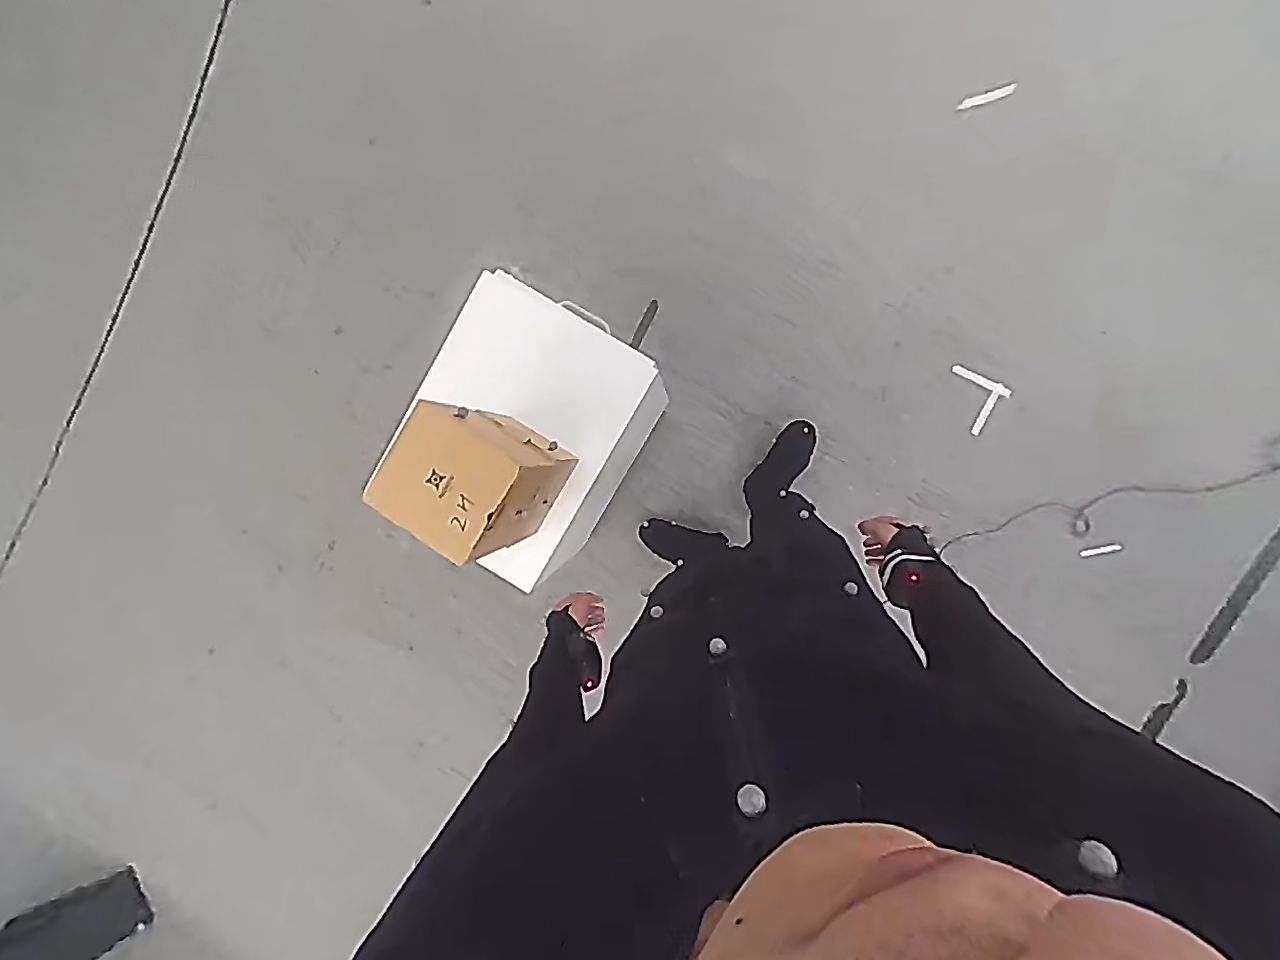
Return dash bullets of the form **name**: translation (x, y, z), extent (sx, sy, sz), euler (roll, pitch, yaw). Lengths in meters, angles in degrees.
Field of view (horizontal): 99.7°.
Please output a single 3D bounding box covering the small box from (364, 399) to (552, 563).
- **small box**: translation (-0.260, 0.000, 0.814), extent (0.179, 0.176, 0.168), euler (33, 96, 3)
